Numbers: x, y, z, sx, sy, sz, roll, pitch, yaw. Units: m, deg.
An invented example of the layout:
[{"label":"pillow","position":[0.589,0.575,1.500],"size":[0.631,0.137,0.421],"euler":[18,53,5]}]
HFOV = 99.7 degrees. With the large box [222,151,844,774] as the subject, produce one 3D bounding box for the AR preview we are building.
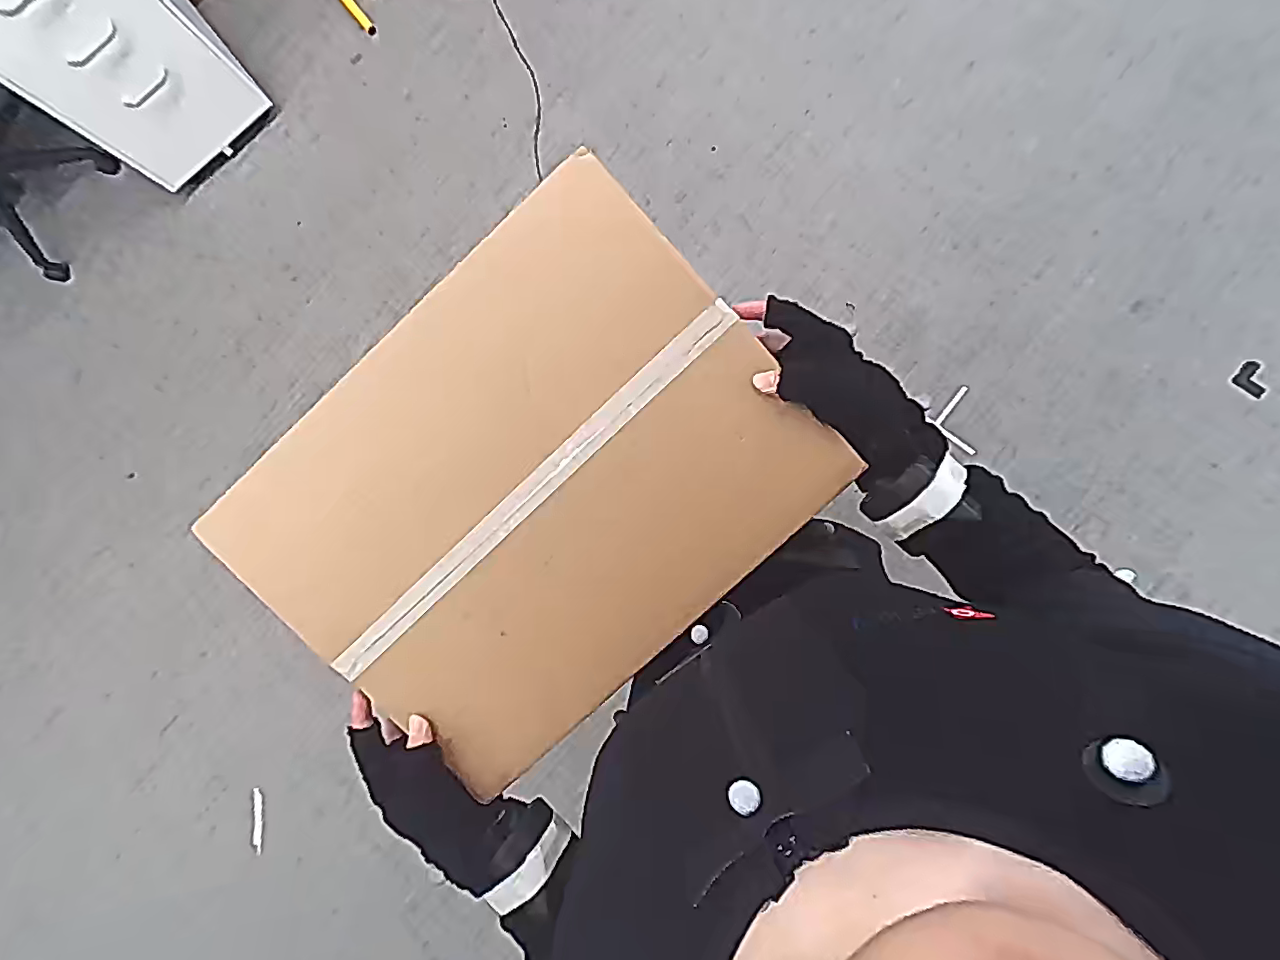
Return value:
[{"label":"large box","position":[-0.086,-0.013,0.568],"size":[0.408,0.320,0.320],"euler":[-42,96,4]}]
